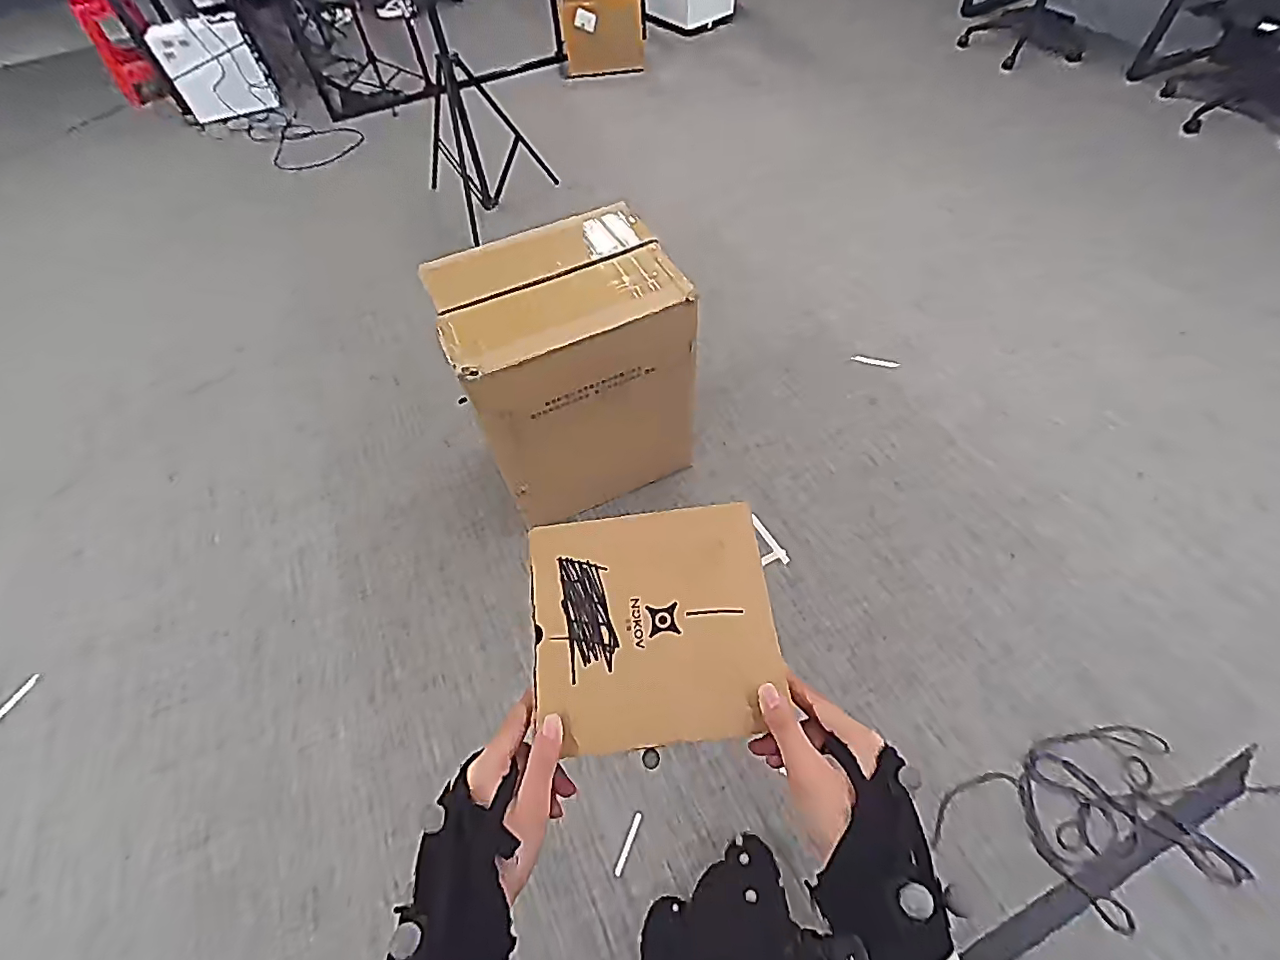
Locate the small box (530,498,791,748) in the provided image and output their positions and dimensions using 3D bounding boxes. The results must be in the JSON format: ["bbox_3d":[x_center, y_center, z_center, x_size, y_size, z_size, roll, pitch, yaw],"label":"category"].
[{"bbox_3d":[0.013,0.131,0.463,0.179,0.176,0.168,-7,64,0],"label":"small box"}]
